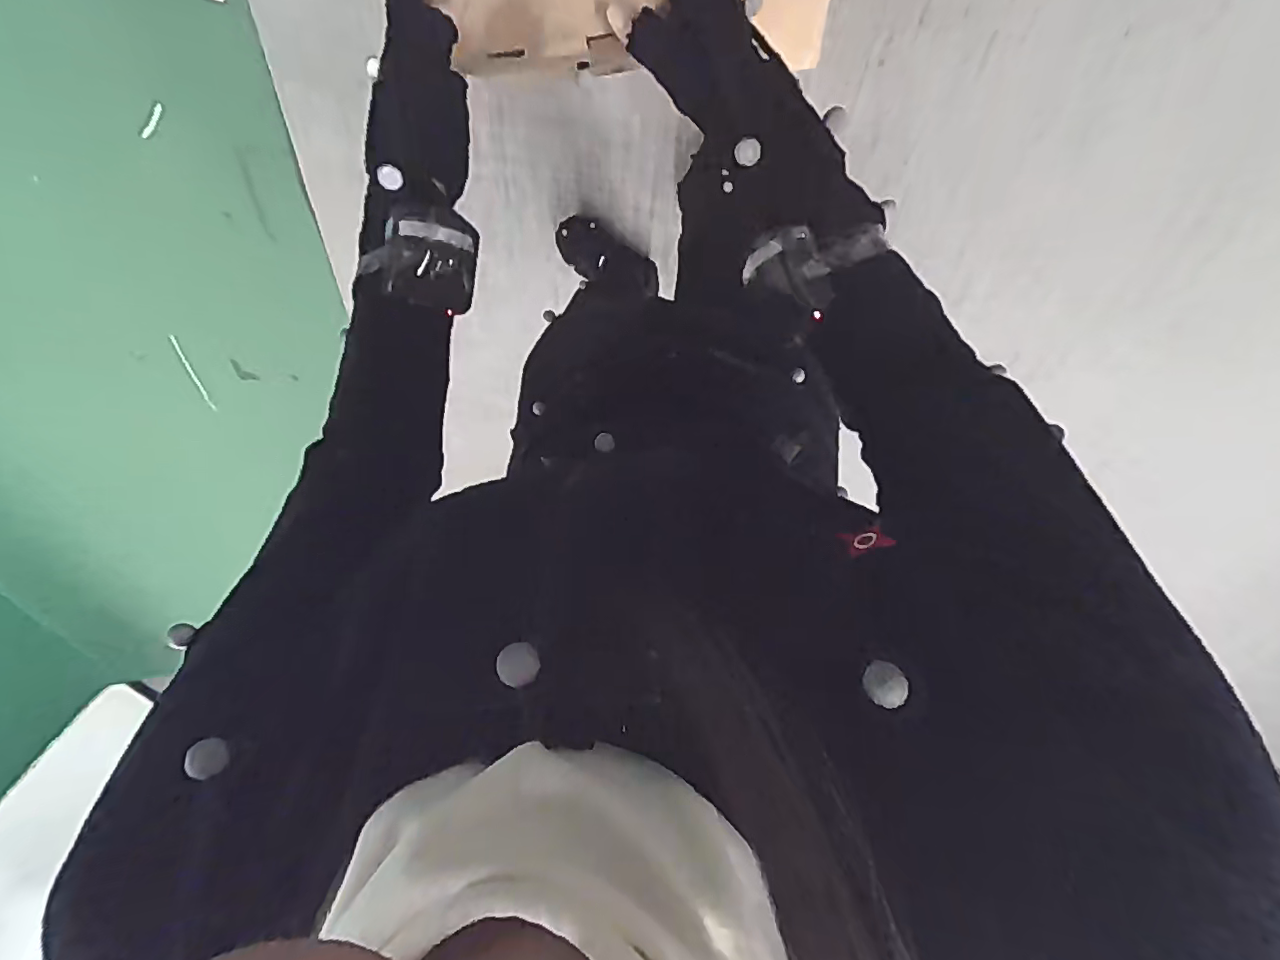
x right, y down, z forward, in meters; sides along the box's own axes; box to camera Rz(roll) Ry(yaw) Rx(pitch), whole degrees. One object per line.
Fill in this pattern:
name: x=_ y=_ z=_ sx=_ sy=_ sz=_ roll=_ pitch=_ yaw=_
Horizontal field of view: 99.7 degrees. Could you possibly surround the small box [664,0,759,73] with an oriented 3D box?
small box: x=0.052 y=-0.590 z=0.622 sx=0.179 sy=0.176 sz=0.168 roll=8 pitch=138 yaw=5
